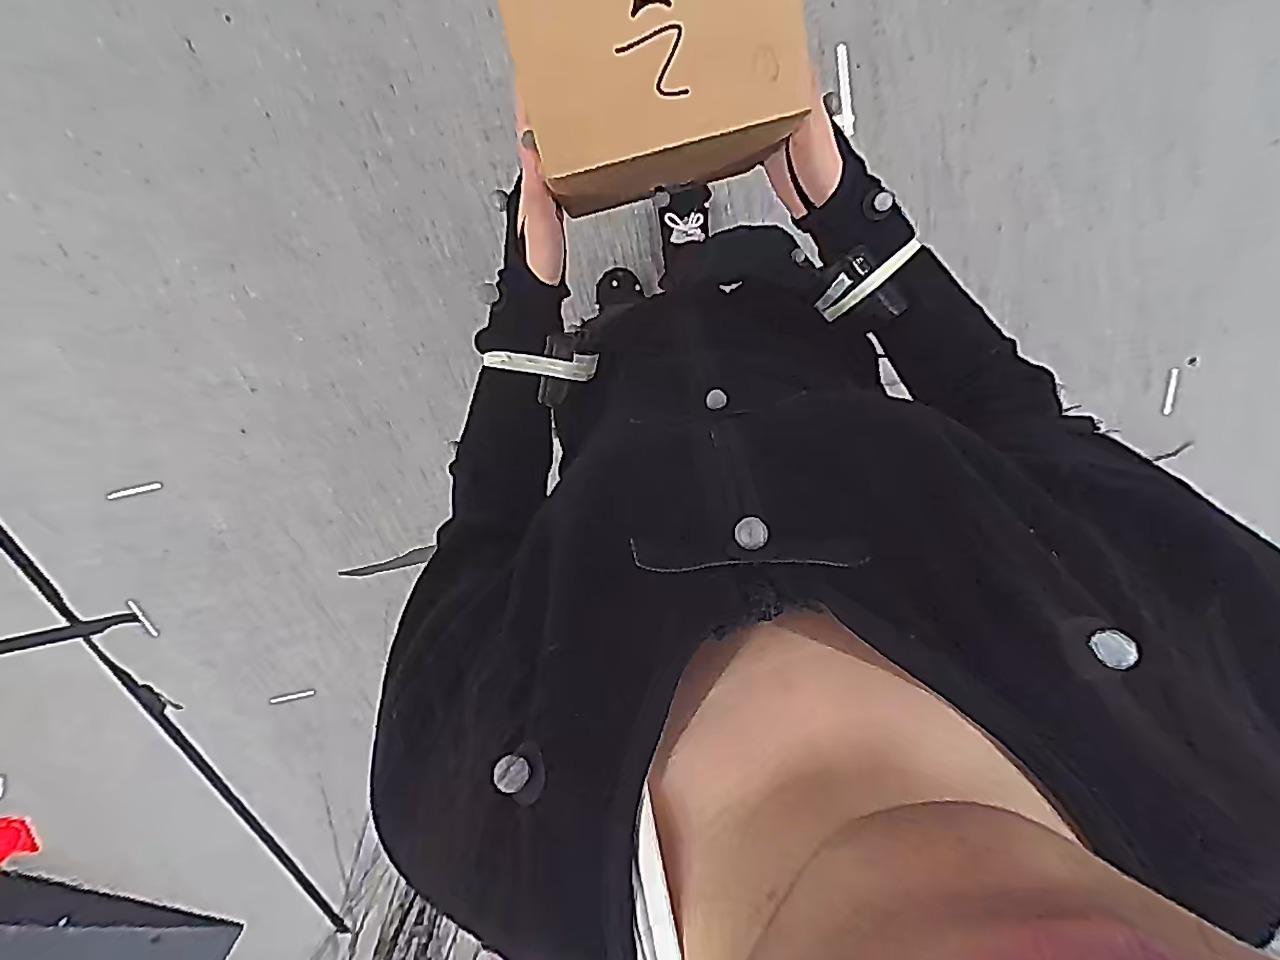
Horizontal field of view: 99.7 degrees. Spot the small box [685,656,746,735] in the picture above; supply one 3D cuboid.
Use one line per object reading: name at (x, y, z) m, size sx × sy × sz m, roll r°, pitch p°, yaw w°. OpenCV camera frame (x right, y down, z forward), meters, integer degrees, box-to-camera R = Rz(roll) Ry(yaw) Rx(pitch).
small box at (0.250, 0.716, 1.820) m, size 0.168 × 0.176 × 0.179 m, roll -11°, pitch 116°, yaw 2°
